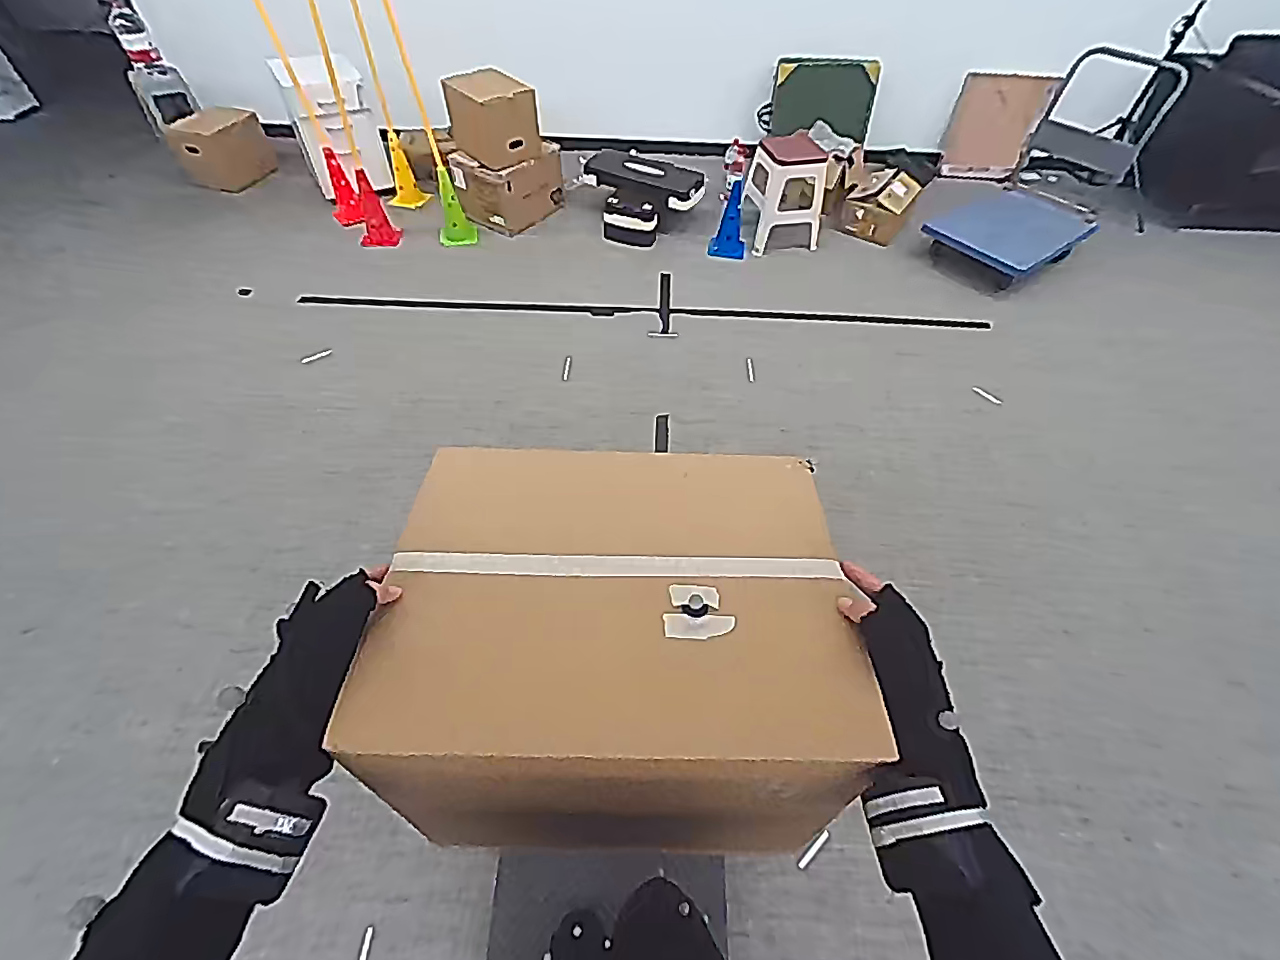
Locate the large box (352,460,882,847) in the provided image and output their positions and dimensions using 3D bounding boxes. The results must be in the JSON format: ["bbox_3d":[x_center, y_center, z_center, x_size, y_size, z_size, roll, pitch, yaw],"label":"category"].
[{"bbox_3d":[-0.021,0.194,0.607,0.408,0.320,0.320,2,45,-1],"label":"large box"}]
